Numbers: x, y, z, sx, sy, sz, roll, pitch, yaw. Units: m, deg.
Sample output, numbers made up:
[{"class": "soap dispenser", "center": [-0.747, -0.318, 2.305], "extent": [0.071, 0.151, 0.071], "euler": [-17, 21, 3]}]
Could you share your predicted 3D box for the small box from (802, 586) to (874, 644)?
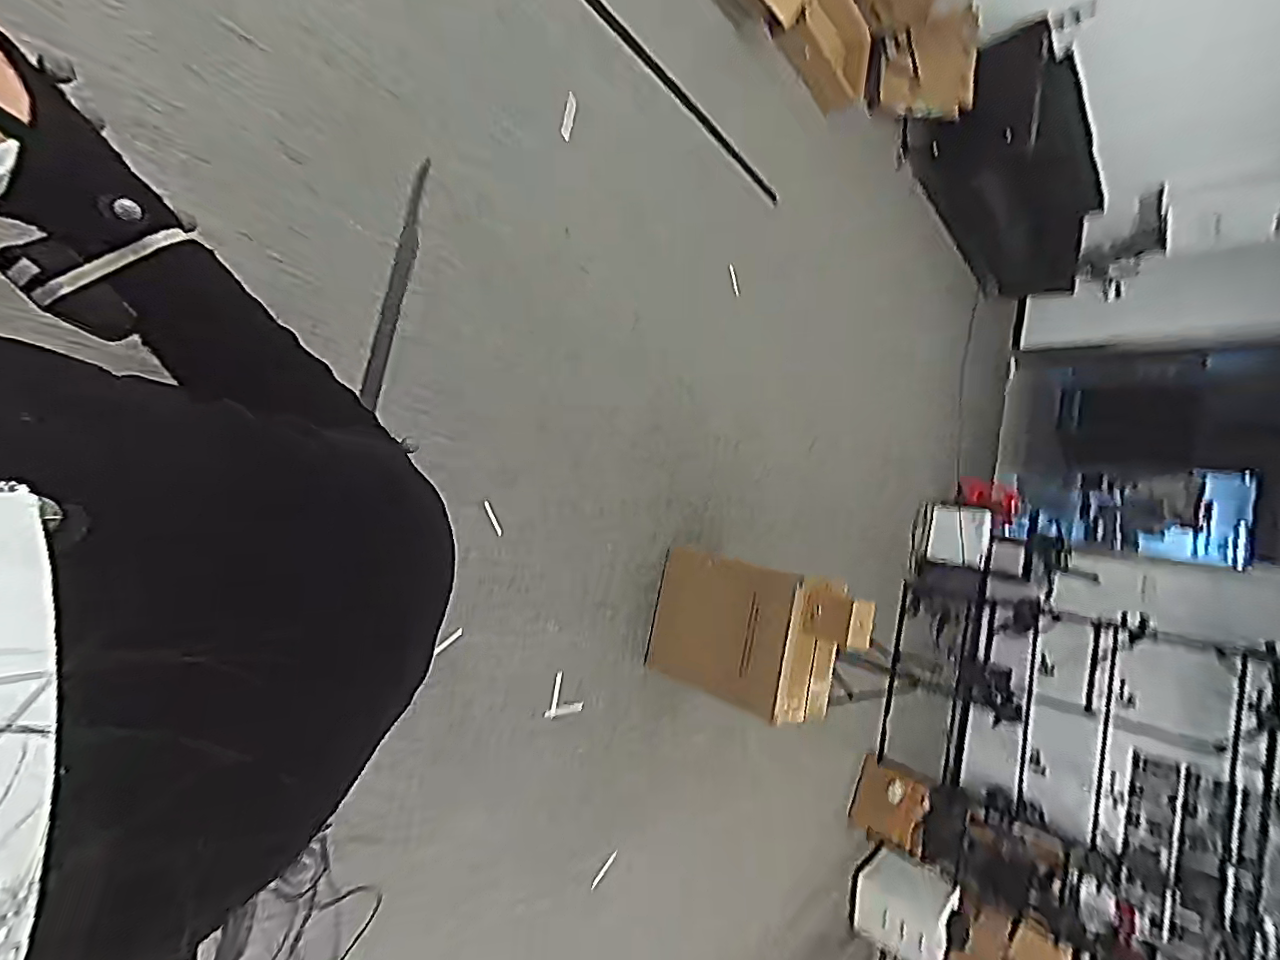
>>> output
[{"class": "small box", "center": [0.706, 0.481, 1.929], "extent": [0.179, 0.176, 0.168], "euler": [16, 83, -41]}]
